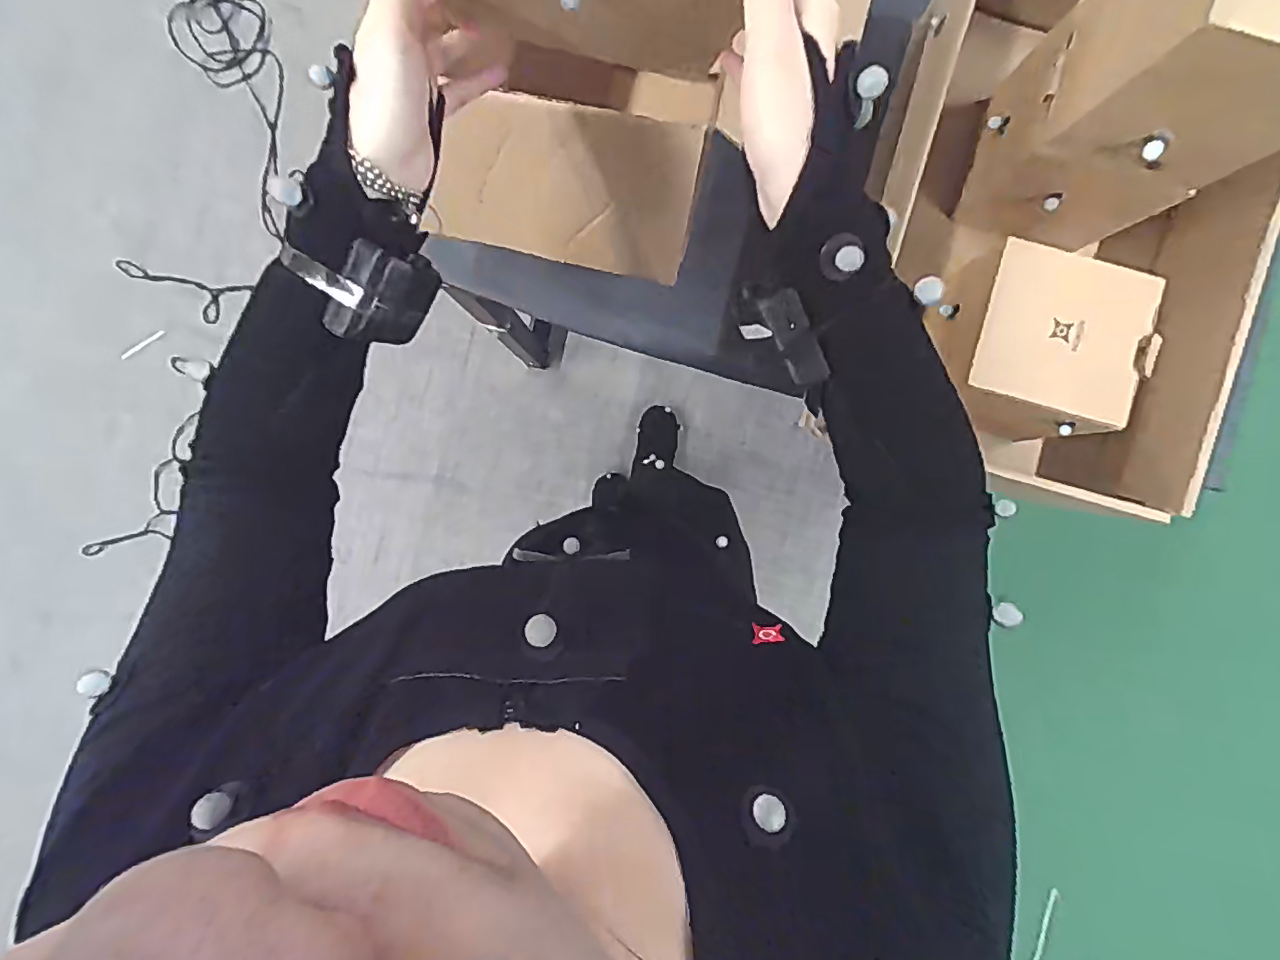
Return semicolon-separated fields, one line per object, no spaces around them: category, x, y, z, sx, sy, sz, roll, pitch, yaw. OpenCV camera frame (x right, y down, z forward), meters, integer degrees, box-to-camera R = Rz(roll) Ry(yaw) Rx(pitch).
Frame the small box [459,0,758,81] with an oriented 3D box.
small box;-0.015;-0.342;0.284;0.179;0.176;0.168;6;113;-11

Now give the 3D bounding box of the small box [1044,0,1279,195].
small box;0.520;-0.400;0.489;0.168;0.176;0.179;17;93;-1
